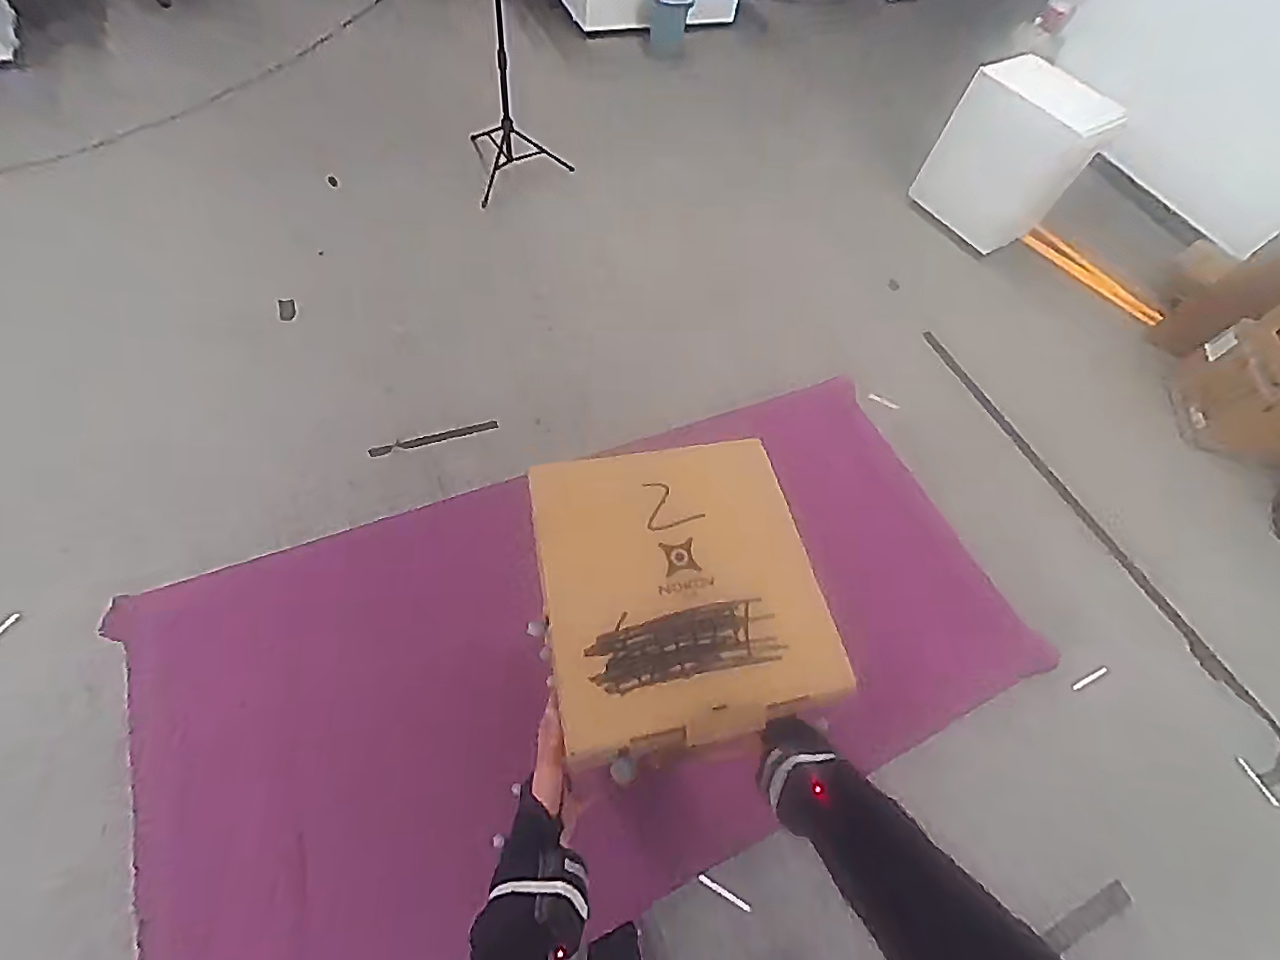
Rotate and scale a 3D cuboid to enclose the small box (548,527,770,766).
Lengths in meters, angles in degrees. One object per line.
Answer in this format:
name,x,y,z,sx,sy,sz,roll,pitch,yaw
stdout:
small box,0.002,0.170,0.540,0.168,0.176,0.179,-9,62,-12
